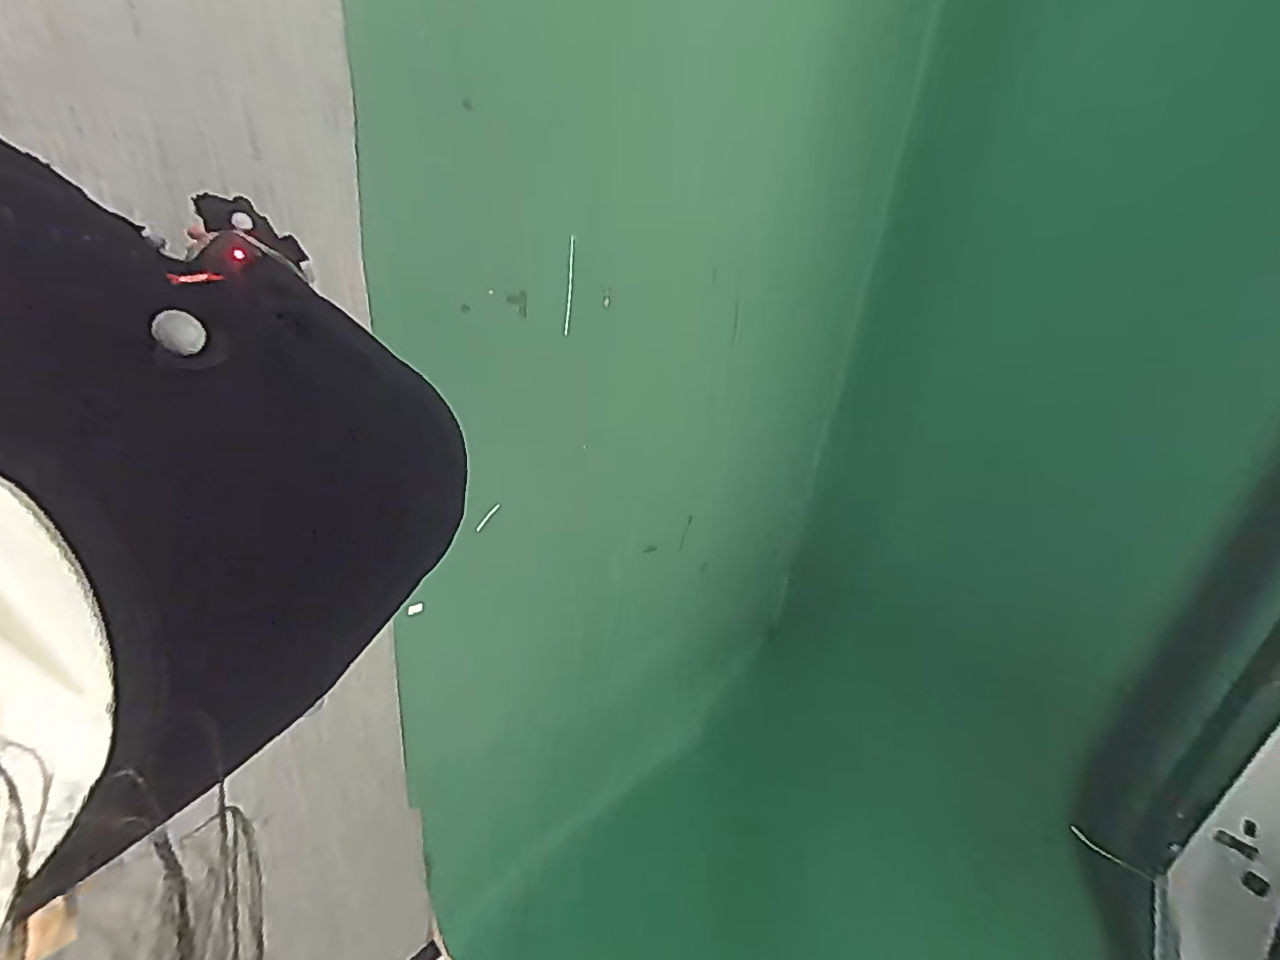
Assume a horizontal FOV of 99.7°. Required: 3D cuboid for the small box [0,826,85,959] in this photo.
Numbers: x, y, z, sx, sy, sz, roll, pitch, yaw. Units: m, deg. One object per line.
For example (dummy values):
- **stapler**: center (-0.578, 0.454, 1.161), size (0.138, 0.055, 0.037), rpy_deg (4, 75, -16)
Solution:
- **small box**: center (-1.365, 0.916, 1.179), size (0.179, 0.176, 0.168), rpy_deg (-21, 127, -45)
